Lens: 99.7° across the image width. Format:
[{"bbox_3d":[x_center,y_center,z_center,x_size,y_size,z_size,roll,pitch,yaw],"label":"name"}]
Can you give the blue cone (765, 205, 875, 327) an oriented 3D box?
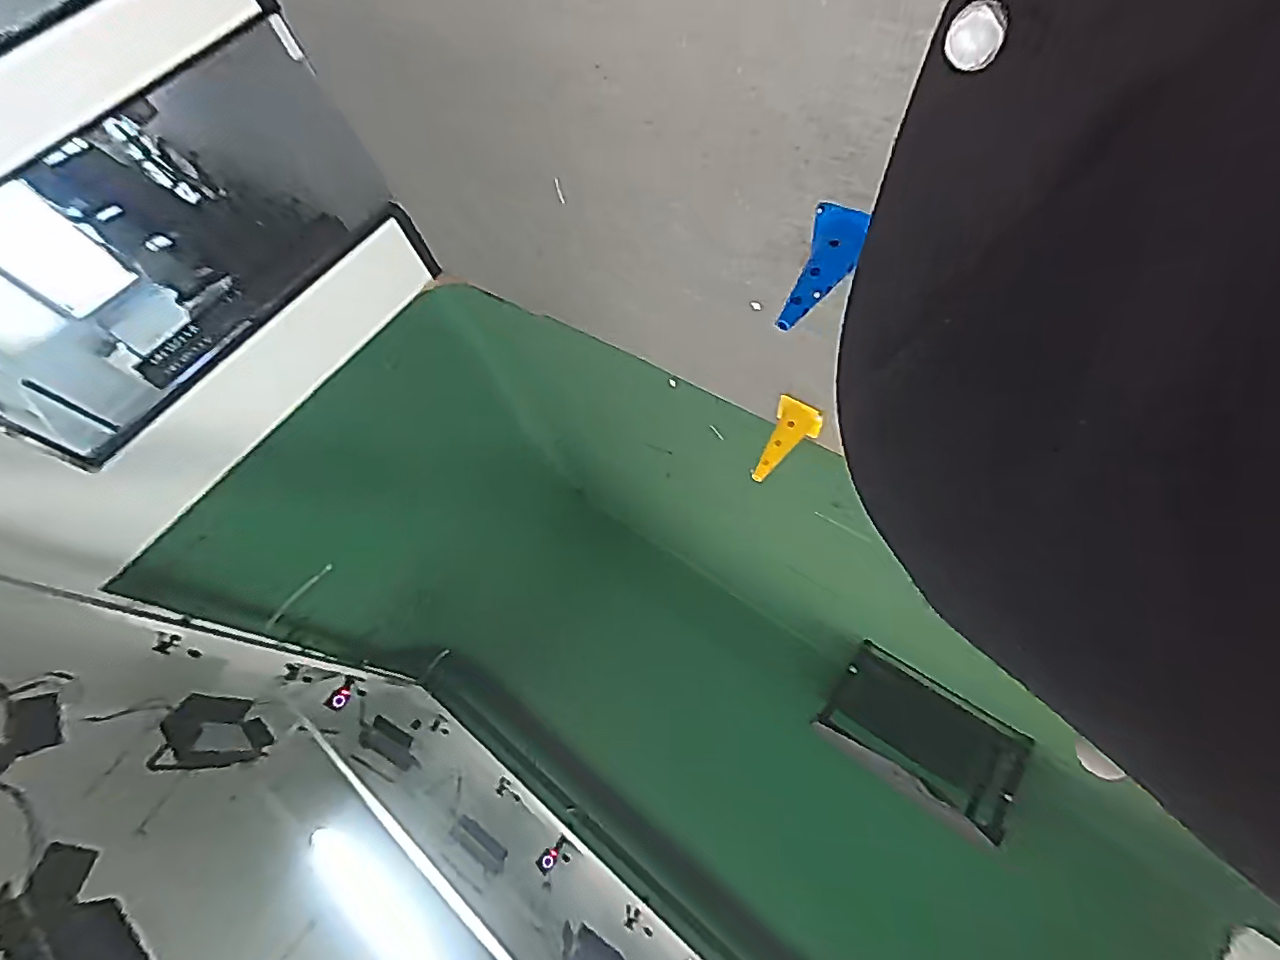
[{"bbox_3d":[0.465,-0.552,1.477,0.192,0.380,0.193,32,161,23],"label":"blue cone"}]
